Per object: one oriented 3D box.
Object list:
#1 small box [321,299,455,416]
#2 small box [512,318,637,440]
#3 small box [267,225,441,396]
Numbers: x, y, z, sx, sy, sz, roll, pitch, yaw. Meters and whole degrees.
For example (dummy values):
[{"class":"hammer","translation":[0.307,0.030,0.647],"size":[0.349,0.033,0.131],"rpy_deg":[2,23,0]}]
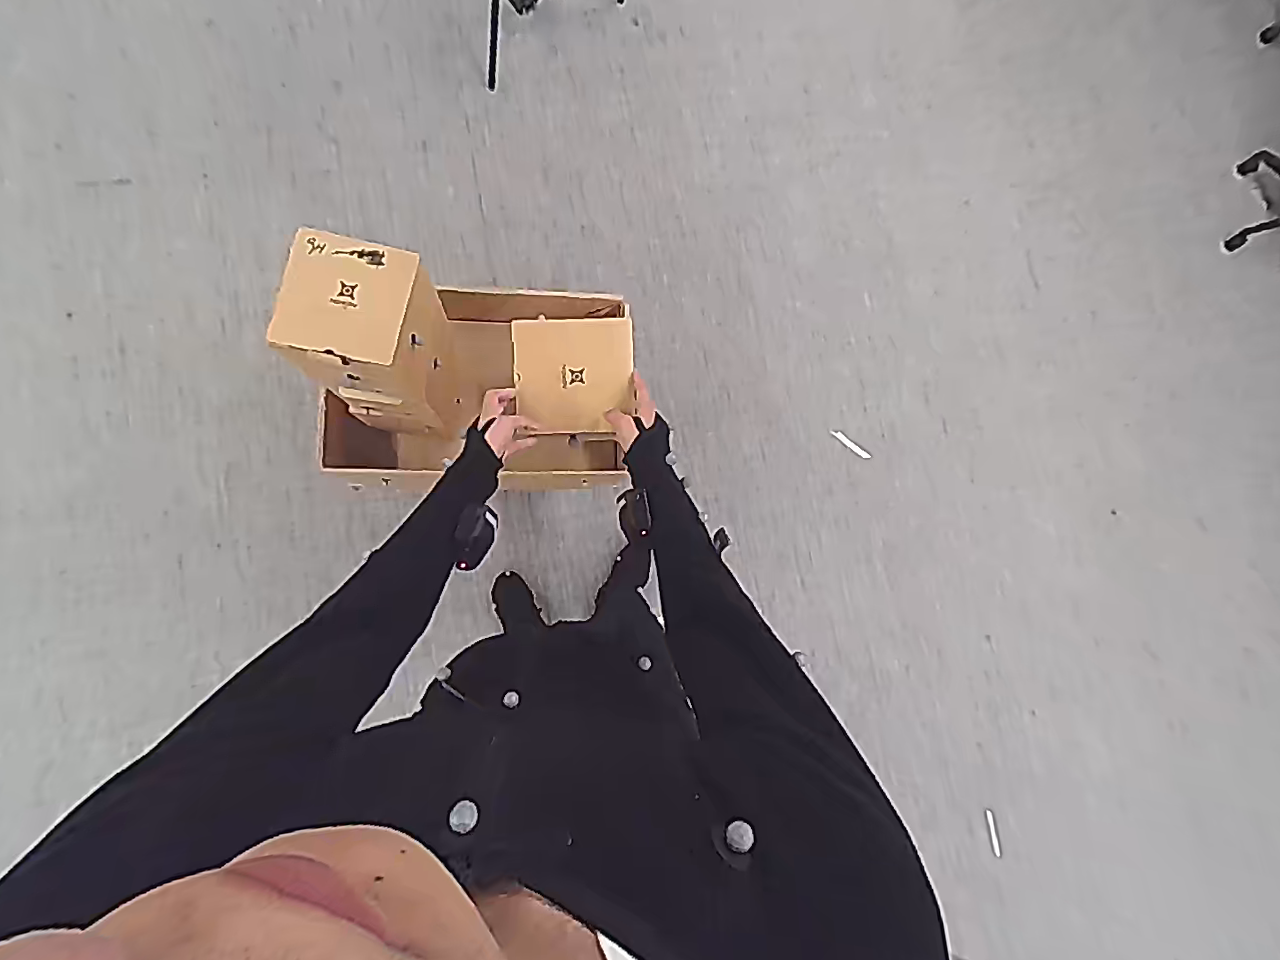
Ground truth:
[{"class":"small box","translation":[-0.442,-0.225,0.980],"size":[0.168,0.176,0.179],"rpy_deg":[8,80,-8]},{"class":"small box","translation":[-0.096,-0.151,0.852],"size":[0.179,0.176,0.168],"rpy_deg":[-2,91,0]},{"class":"small box","translation":[-0.415,-0.242,0.819],"size":[0.168,0.176,0.179],"rpy_deg":[12,81,-7]}]
